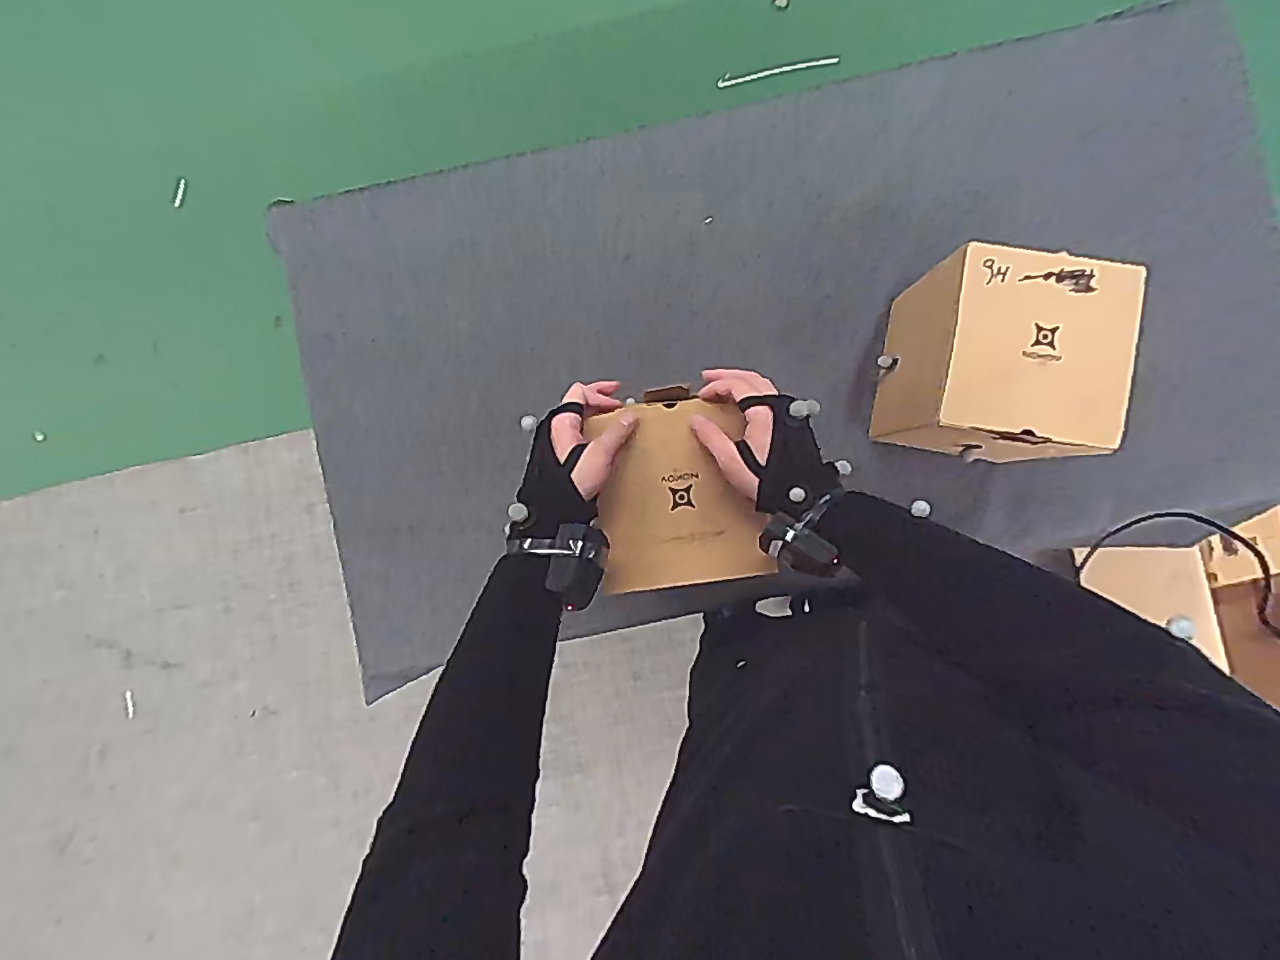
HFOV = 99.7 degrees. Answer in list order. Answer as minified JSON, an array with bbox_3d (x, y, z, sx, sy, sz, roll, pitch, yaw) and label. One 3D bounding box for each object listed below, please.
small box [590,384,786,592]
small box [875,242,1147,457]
[{"bbox_3d":[0.044,0.006,0.573,0.168,0.176,0.179,-8,92,1],"label":"small box"},{"bbox_3d":[0.375,-0.124,0.584,0.168,0.176,0.179,11,91,2],"label":"small box"}]
